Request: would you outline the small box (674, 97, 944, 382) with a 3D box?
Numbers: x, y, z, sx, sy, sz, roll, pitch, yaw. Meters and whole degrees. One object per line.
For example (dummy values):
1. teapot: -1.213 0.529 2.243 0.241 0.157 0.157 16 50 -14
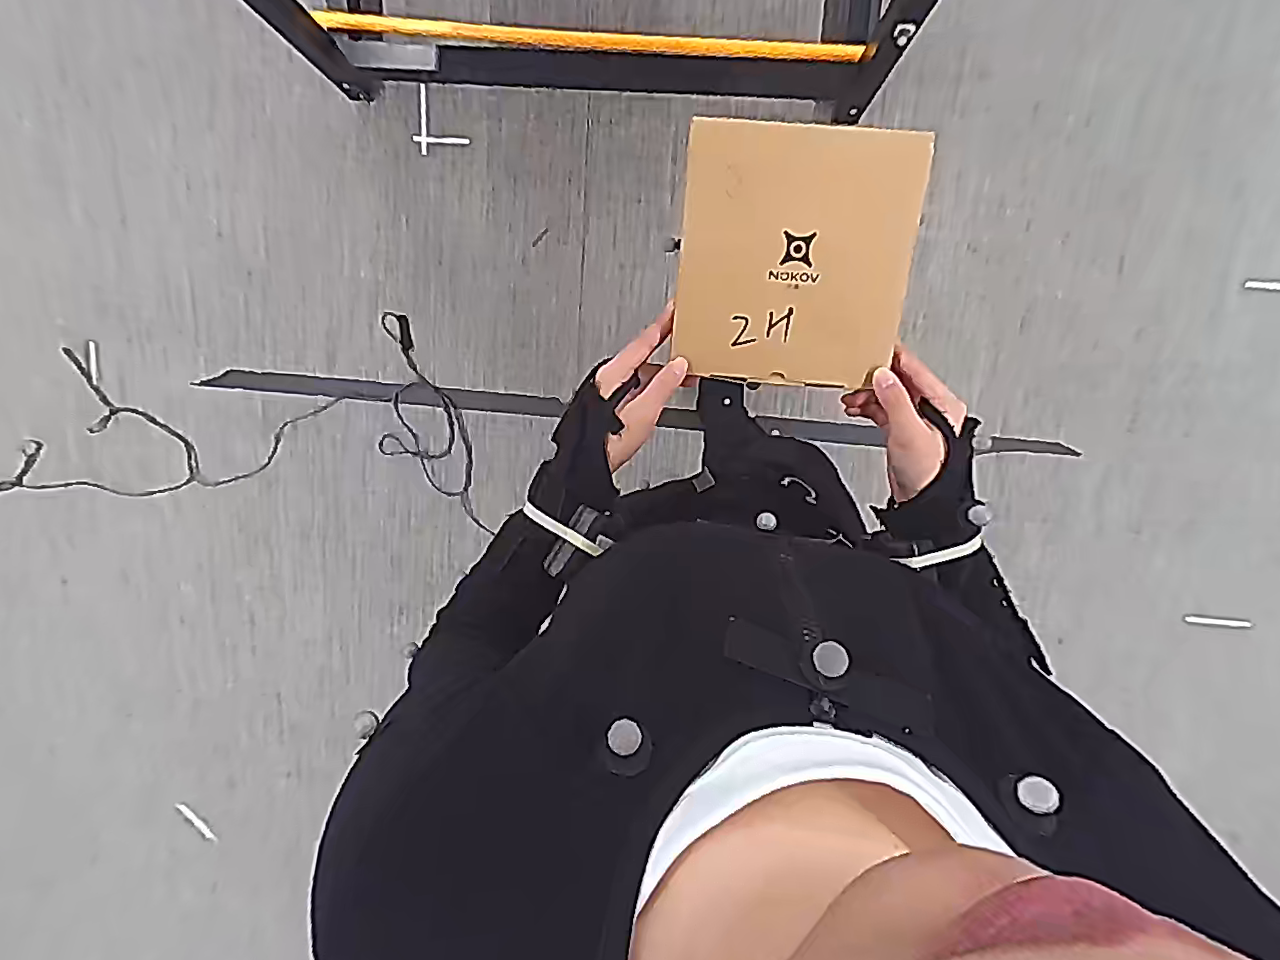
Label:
1. small box: 0.118 -0.184 0.457 0.168 0.176 0.179 6 105 2
